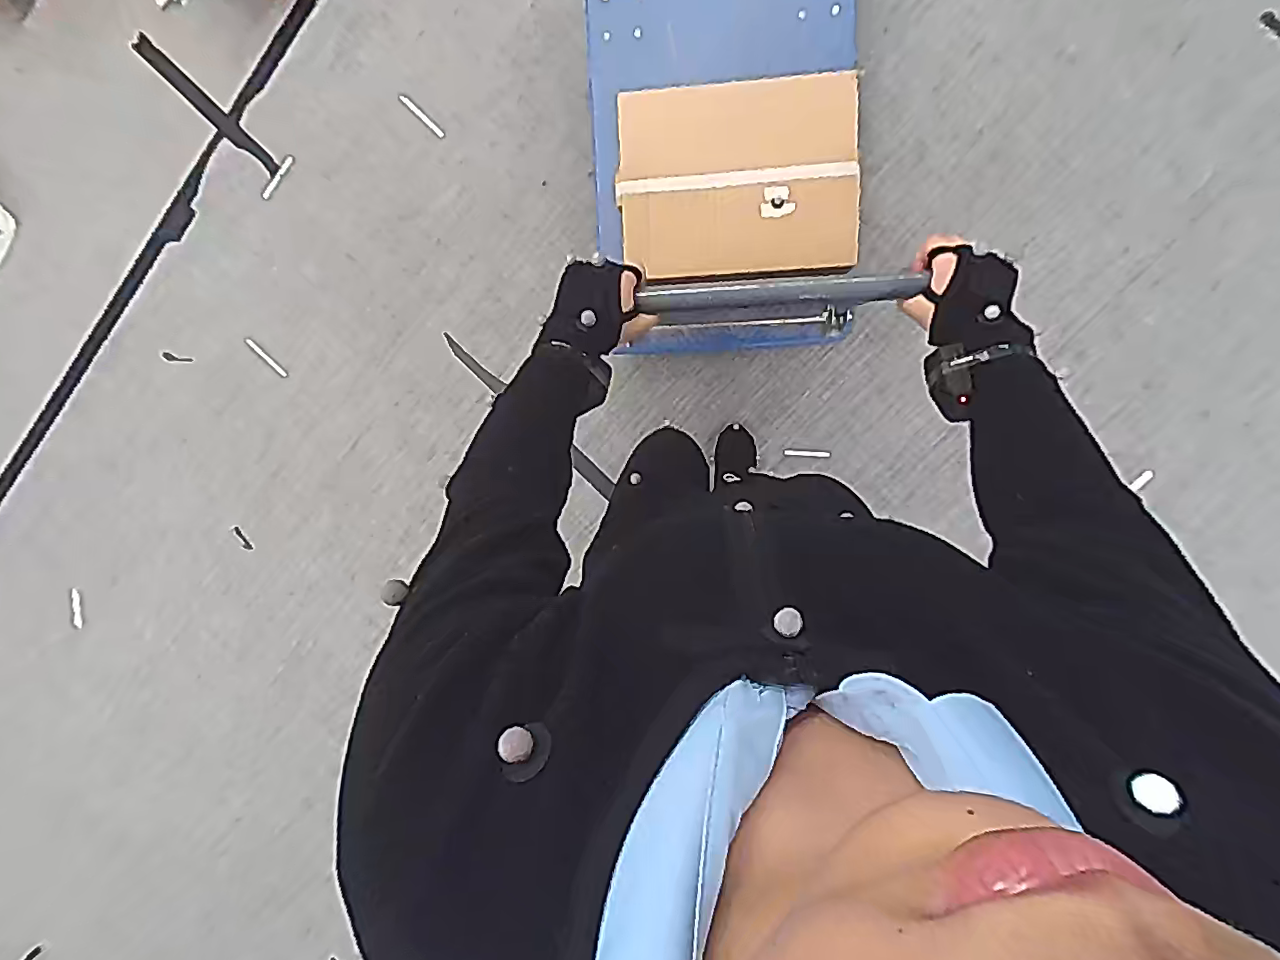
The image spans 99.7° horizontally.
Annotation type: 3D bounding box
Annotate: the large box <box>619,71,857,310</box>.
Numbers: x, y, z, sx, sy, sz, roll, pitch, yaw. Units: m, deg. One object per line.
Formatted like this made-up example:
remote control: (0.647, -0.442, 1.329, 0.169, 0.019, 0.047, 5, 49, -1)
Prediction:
large box: (0.179, -0.538, 1.080, 0.408, 0.320, 0.320, -2, 98, 4)
